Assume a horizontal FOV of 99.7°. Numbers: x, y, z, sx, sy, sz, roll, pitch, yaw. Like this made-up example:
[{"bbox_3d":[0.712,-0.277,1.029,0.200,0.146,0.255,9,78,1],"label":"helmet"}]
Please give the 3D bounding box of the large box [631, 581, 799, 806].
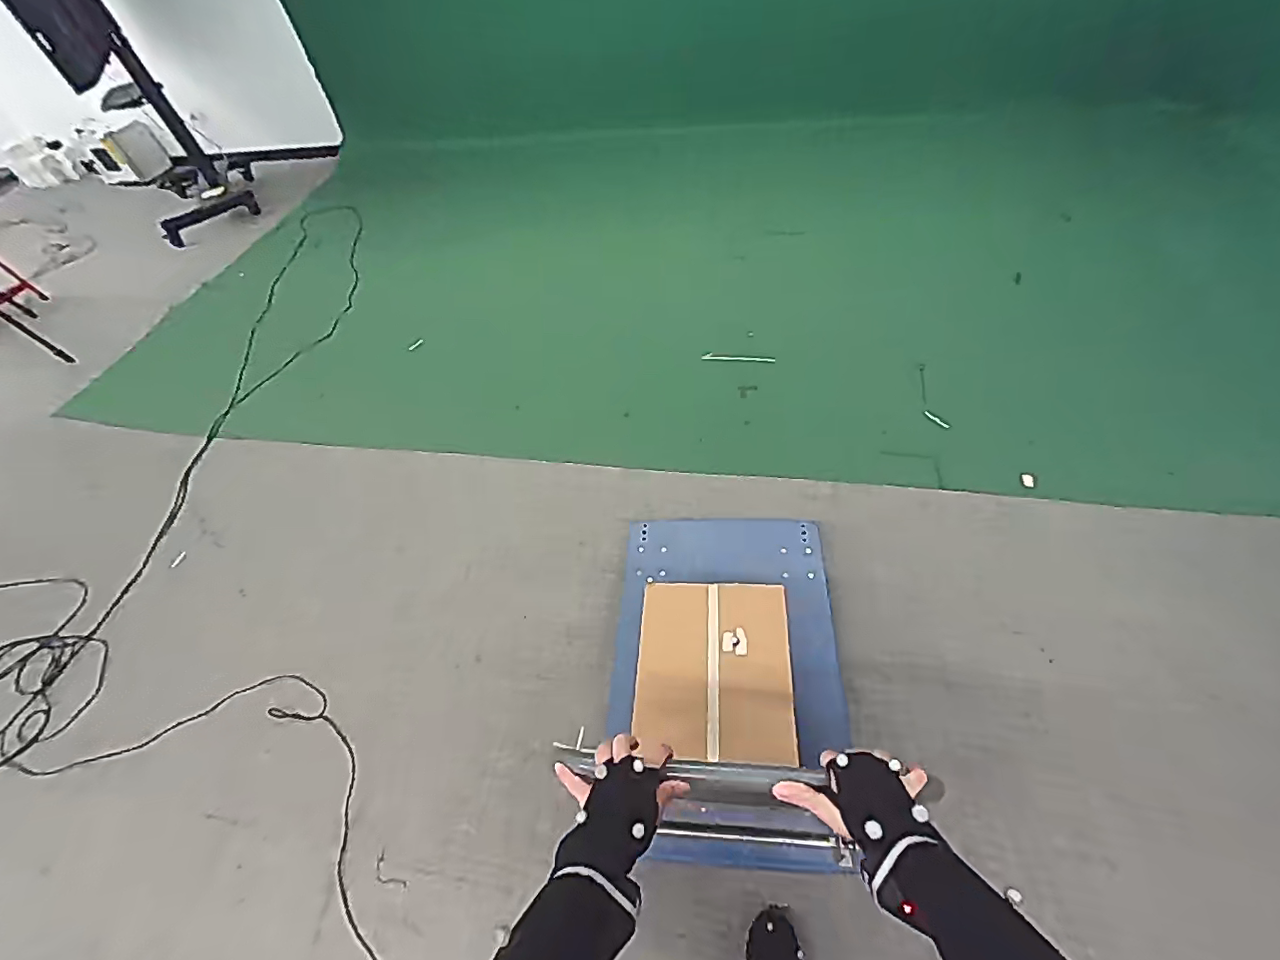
[{"bbox_3d":[0.168,0.481,1.223,0.320,0.320,0.408,-1,51,8],"label":"large box"}]
